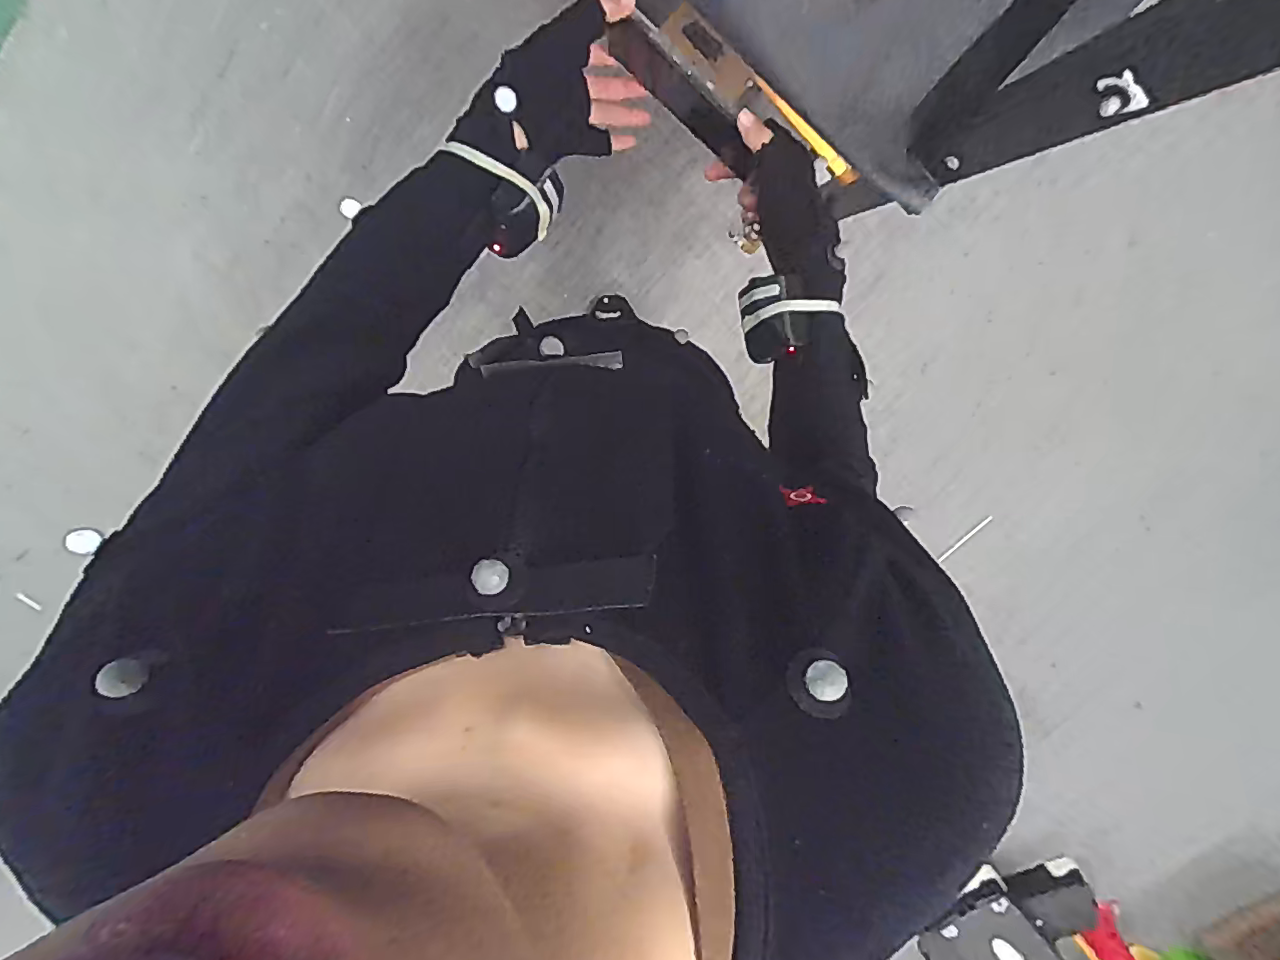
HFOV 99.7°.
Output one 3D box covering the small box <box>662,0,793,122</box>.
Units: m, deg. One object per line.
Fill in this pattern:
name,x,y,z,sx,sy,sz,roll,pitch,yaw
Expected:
small box,0.156,-0.830,1.028,0.179,0.176,0.168,-43,105,12
